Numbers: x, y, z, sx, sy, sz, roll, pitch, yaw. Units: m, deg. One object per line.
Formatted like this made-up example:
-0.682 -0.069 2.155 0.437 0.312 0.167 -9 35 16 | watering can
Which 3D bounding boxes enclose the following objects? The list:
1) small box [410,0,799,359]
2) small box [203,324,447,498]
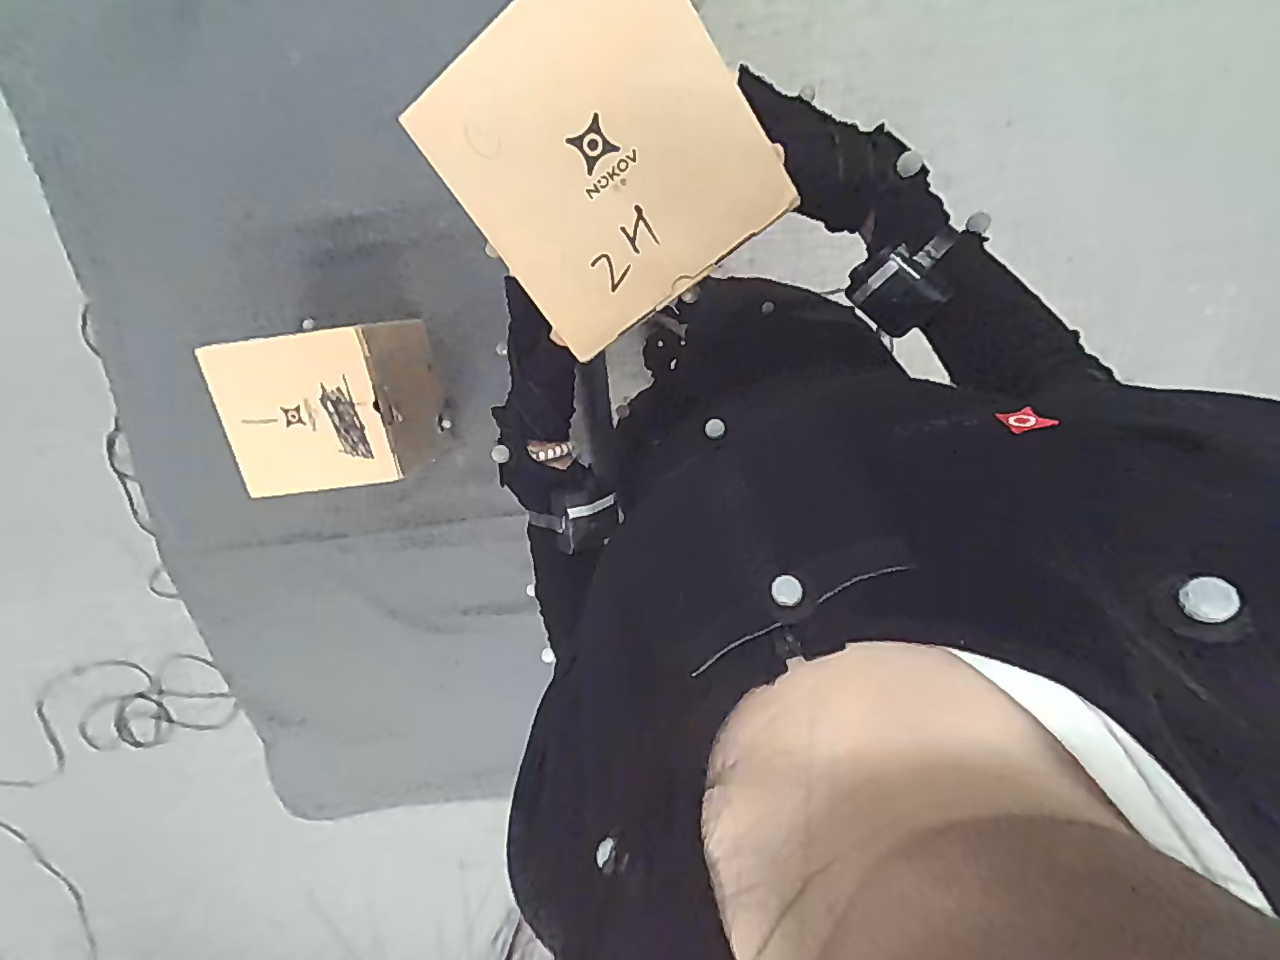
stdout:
-0.015 -0.214 0.387 0.168 0.176 0.179 -32 106 16 | small box
-0.350 -0.090 0.647 0.179 0.176 0.168 -6 108 5 | small box
